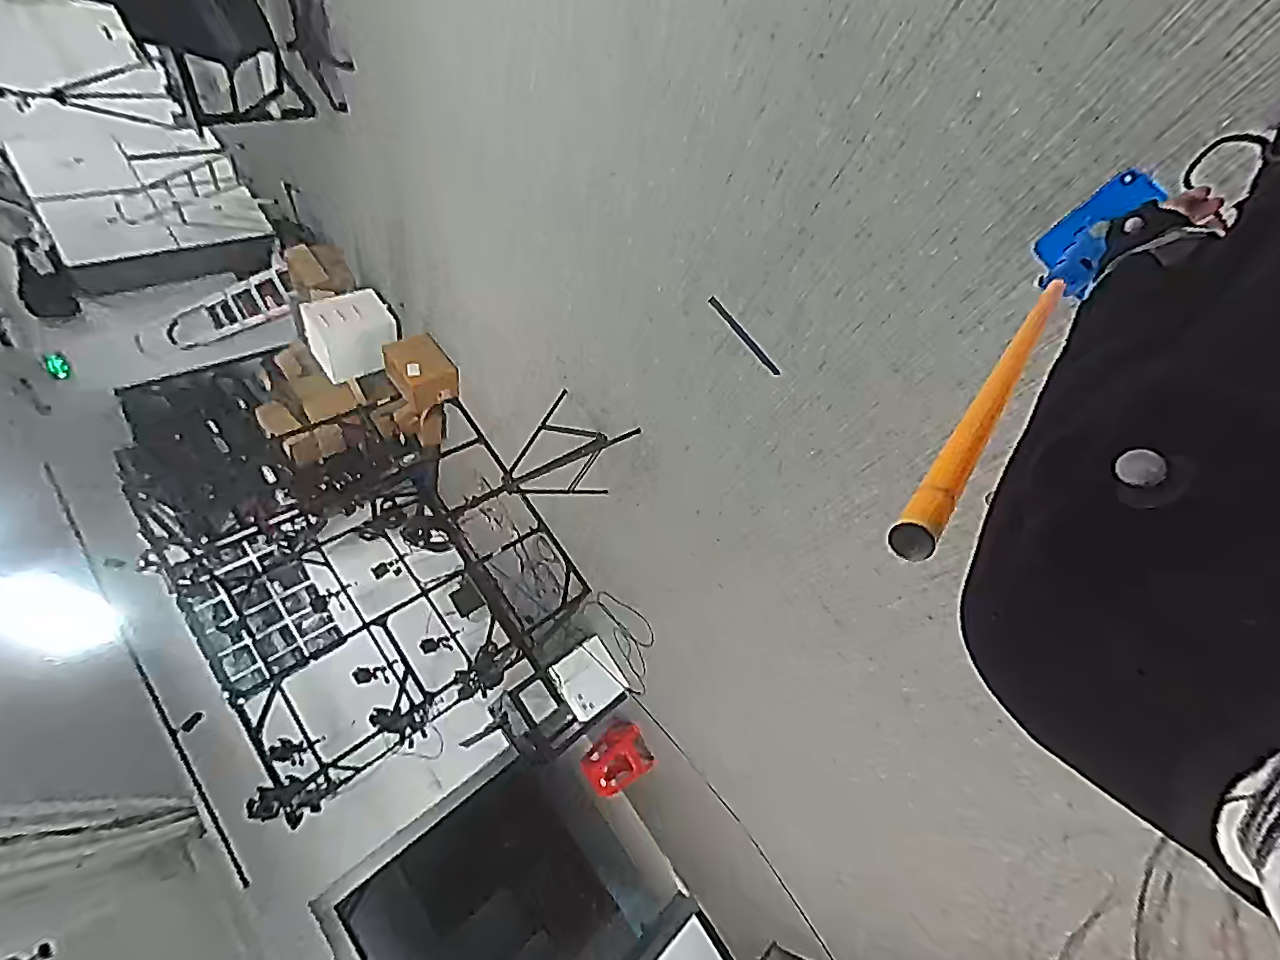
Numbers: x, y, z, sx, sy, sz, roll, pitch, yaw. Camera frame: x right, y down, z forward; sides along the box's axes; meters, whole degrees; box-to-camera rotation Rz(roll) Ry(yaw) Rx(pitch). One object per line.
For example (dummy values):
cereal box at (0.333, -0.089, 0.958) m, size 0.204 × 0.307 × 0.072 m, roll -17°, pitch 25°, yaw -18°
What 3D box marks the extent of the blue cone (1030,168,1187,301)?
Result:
blue cone at (0.791, -0.401, 0.969) m, size 0.192 × 0.380 × 0.193 m, roll 56°, pitch 148°, yaw 8°
